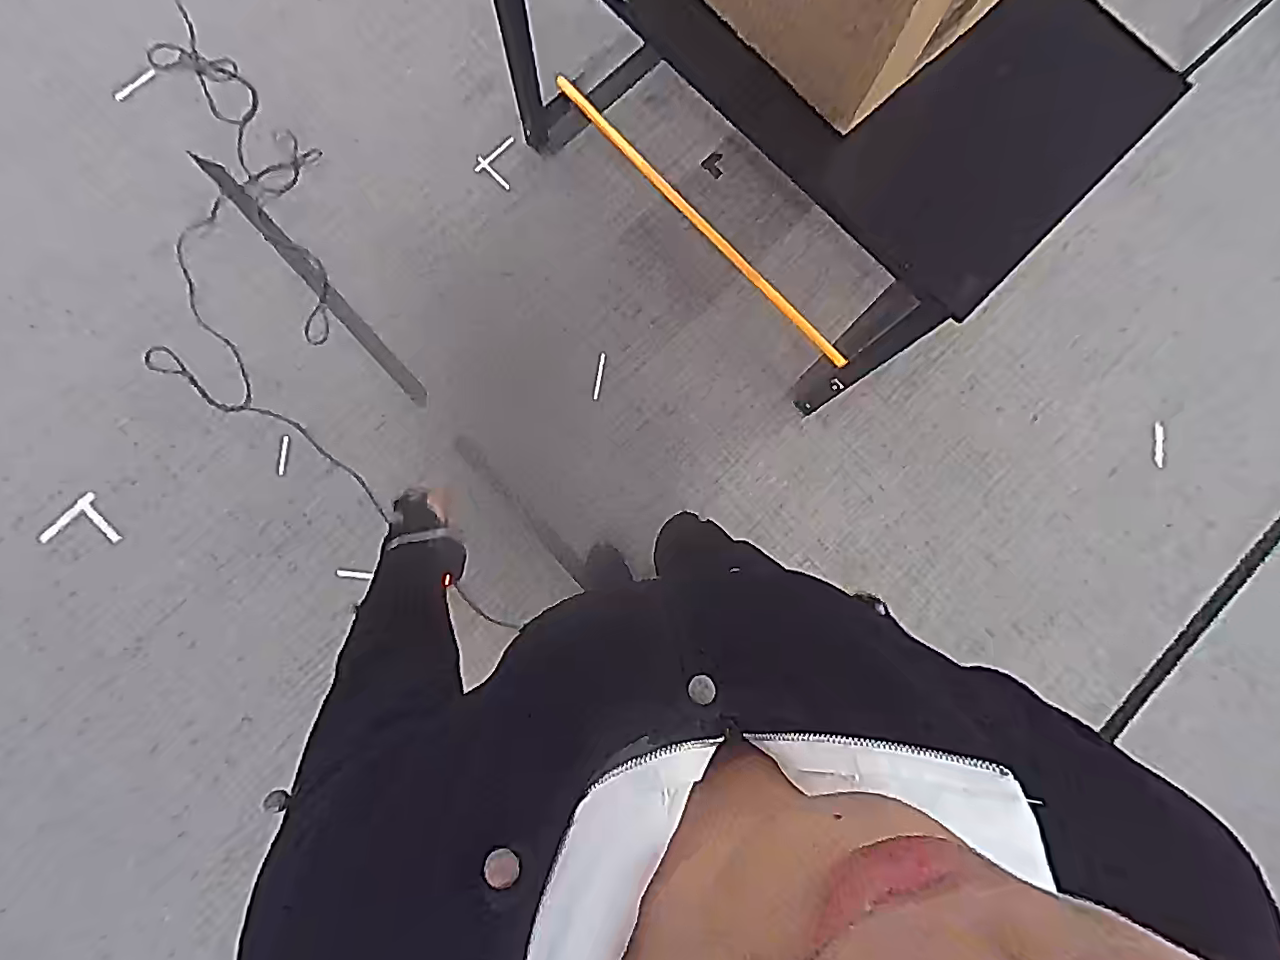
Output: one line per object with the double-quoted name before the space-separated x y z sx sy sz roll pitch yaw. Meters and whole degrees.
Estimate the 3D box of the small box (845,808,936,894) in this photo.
"small box" 0.602 0.889 1.213 0.168 0.176 0.179 -40 86 -6

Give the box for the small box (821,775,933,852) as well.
"small box" 0.598 0.898 1.377 0.179 0.176 0.168 -40 86 -5
